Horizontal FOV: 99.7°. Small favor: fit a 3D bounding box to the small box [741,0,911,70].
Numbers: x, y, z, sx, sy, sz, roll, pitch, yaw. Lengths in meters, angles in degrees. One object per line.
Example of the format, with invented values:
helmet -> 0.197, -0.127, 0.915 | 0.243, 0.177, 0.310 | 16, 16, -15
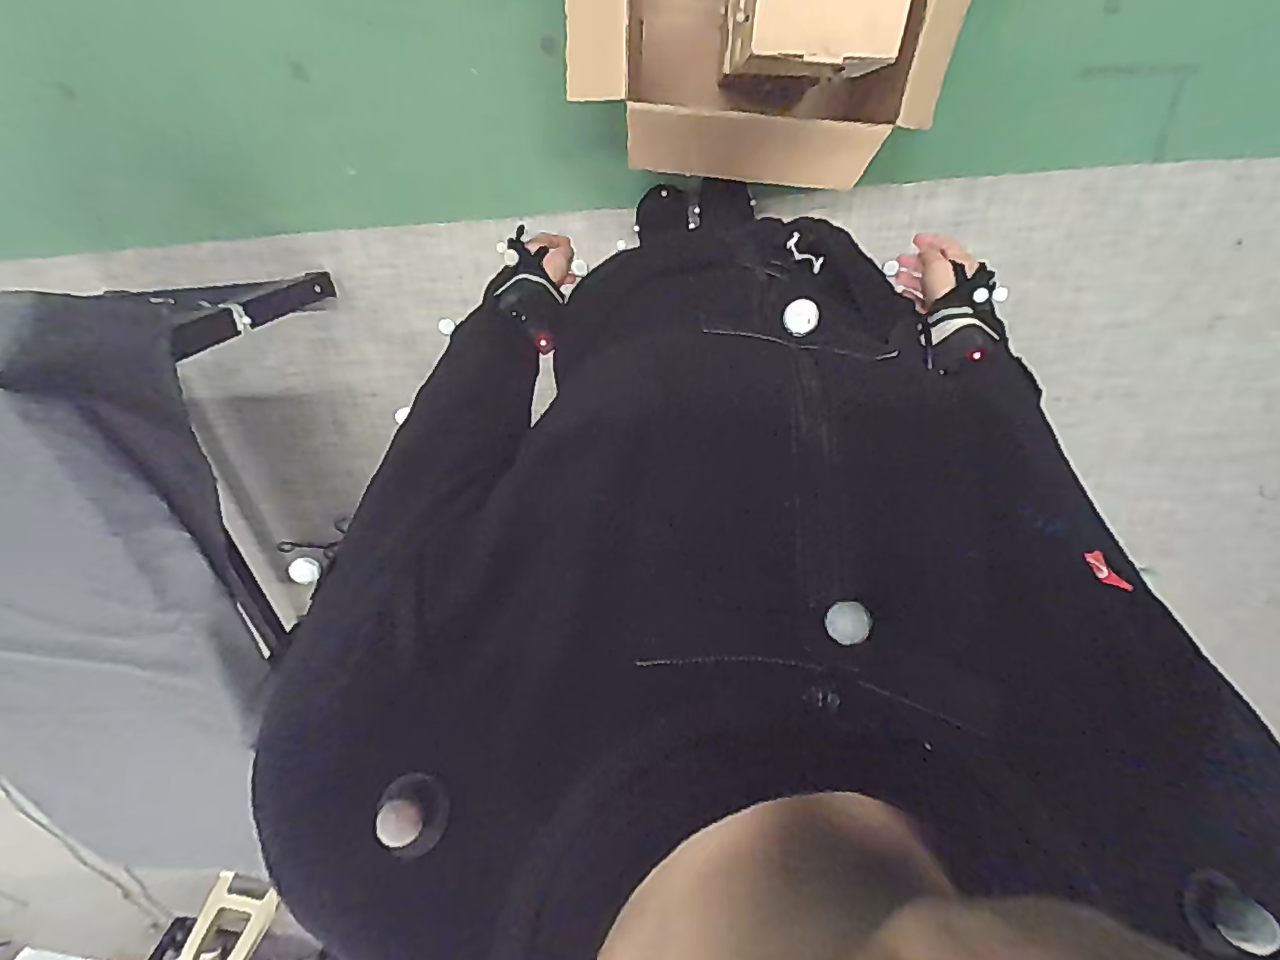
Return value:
small box -> 0.213, -0.590, 0.621 | 0.168, 0.176, 0.179 | 3, 121, 2
